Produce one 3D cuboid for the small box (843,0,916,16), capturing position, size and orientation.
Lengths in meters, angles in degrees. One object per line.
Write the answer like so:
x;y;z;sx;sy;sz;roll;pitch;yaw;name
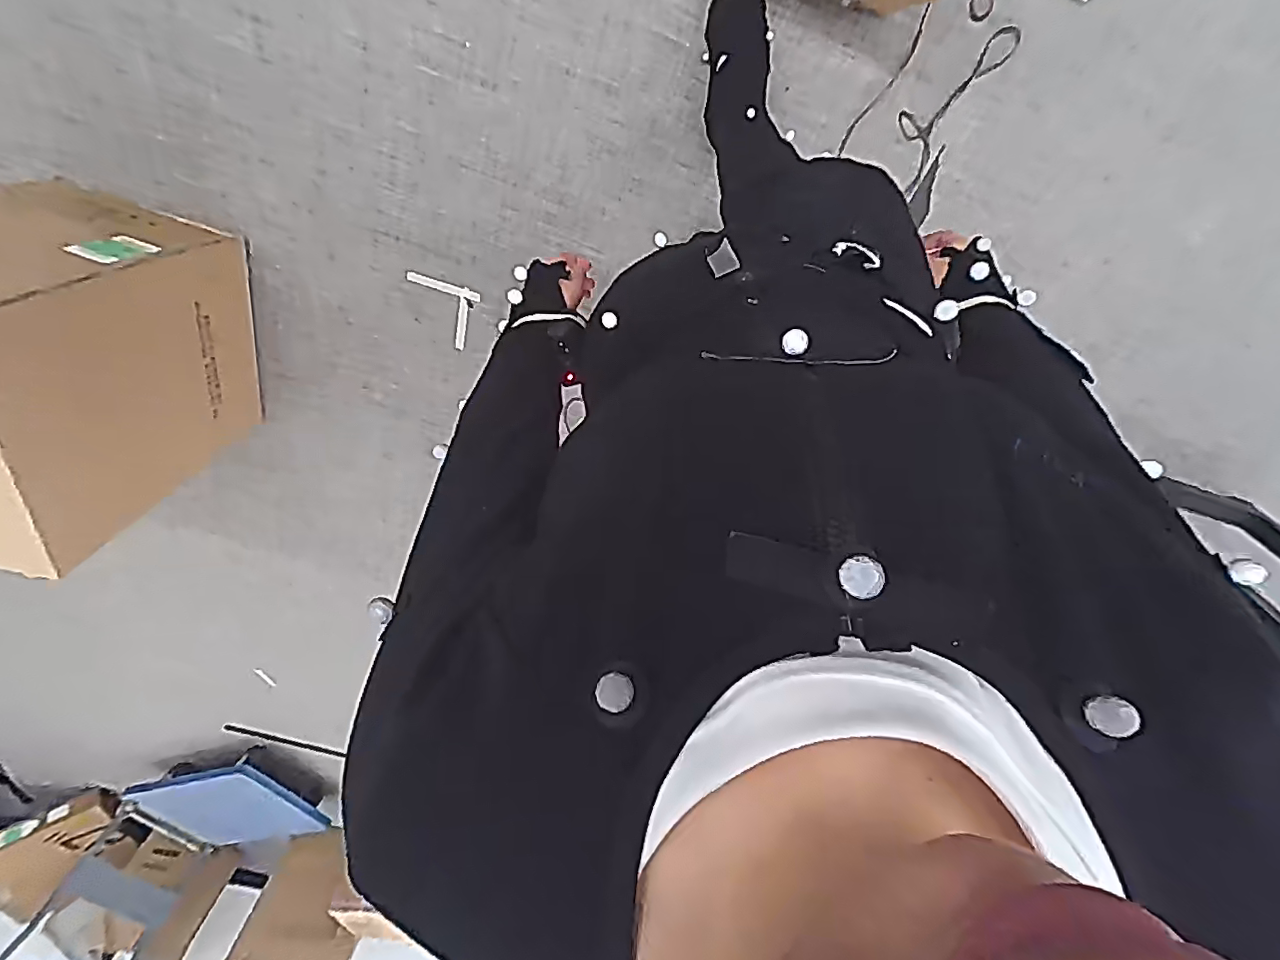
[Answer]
0.374;-0.855;0.825;0.168;0.176;0.179;18;126;-8;small box
